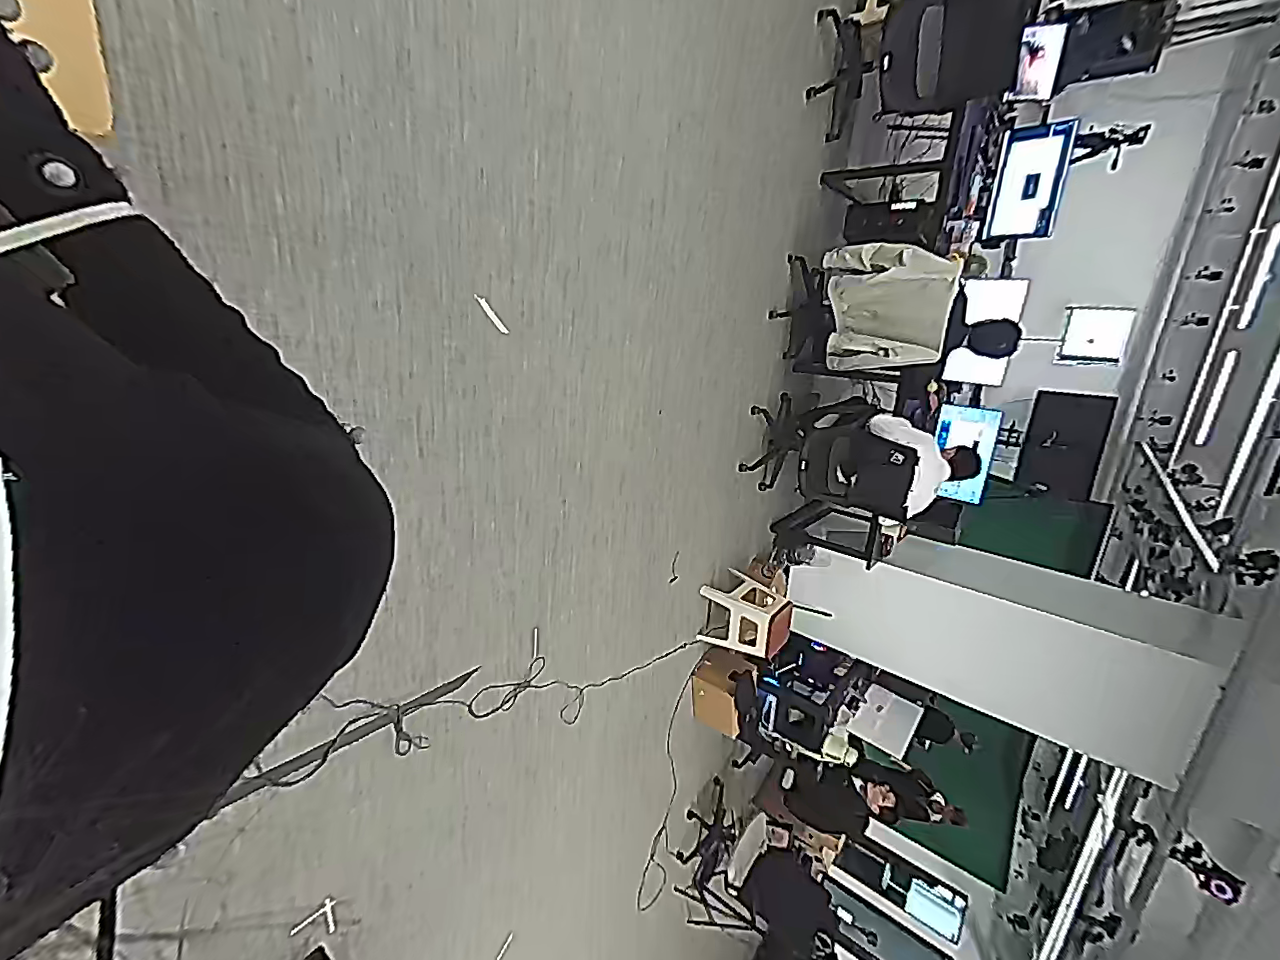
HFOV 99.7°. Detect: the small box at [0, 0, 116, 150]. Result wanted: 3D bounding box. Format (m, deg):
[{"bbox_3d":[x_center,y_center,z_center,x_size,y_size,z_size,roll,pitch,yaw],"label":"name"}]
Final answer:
[{"bbox_3d":[-0.685,-0.465,0.556,0.168,0.176,0.179,-17,118,-51],"label":"small box"}]
